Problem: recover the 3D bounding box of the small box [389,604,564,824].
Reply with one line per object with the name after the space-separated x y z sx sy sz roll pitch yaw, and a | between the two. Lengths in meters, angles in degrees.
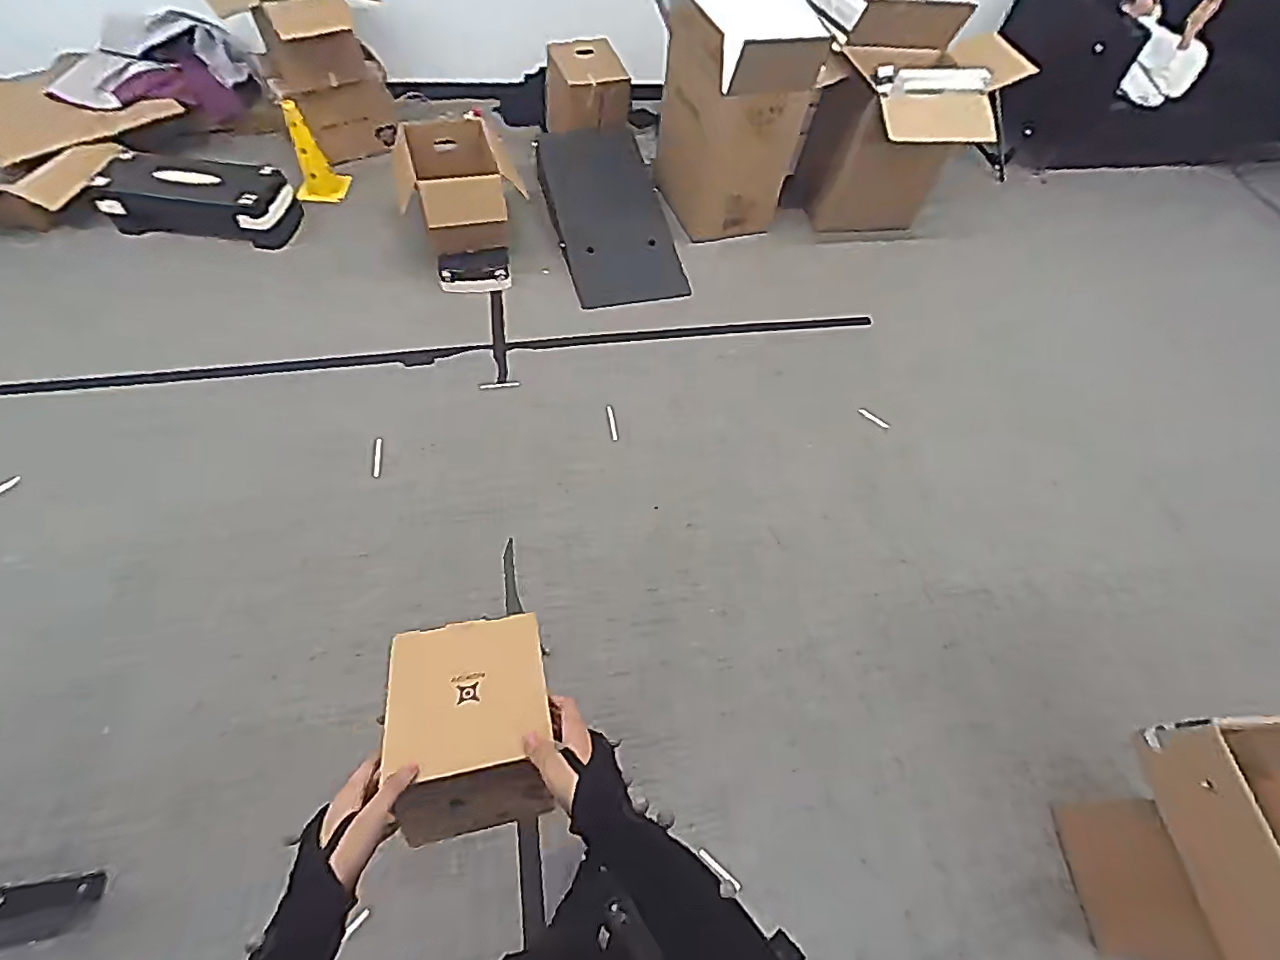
-0.182 0.276 0.637 0.168 0.176 0.179 -6 41 -14 | small box
